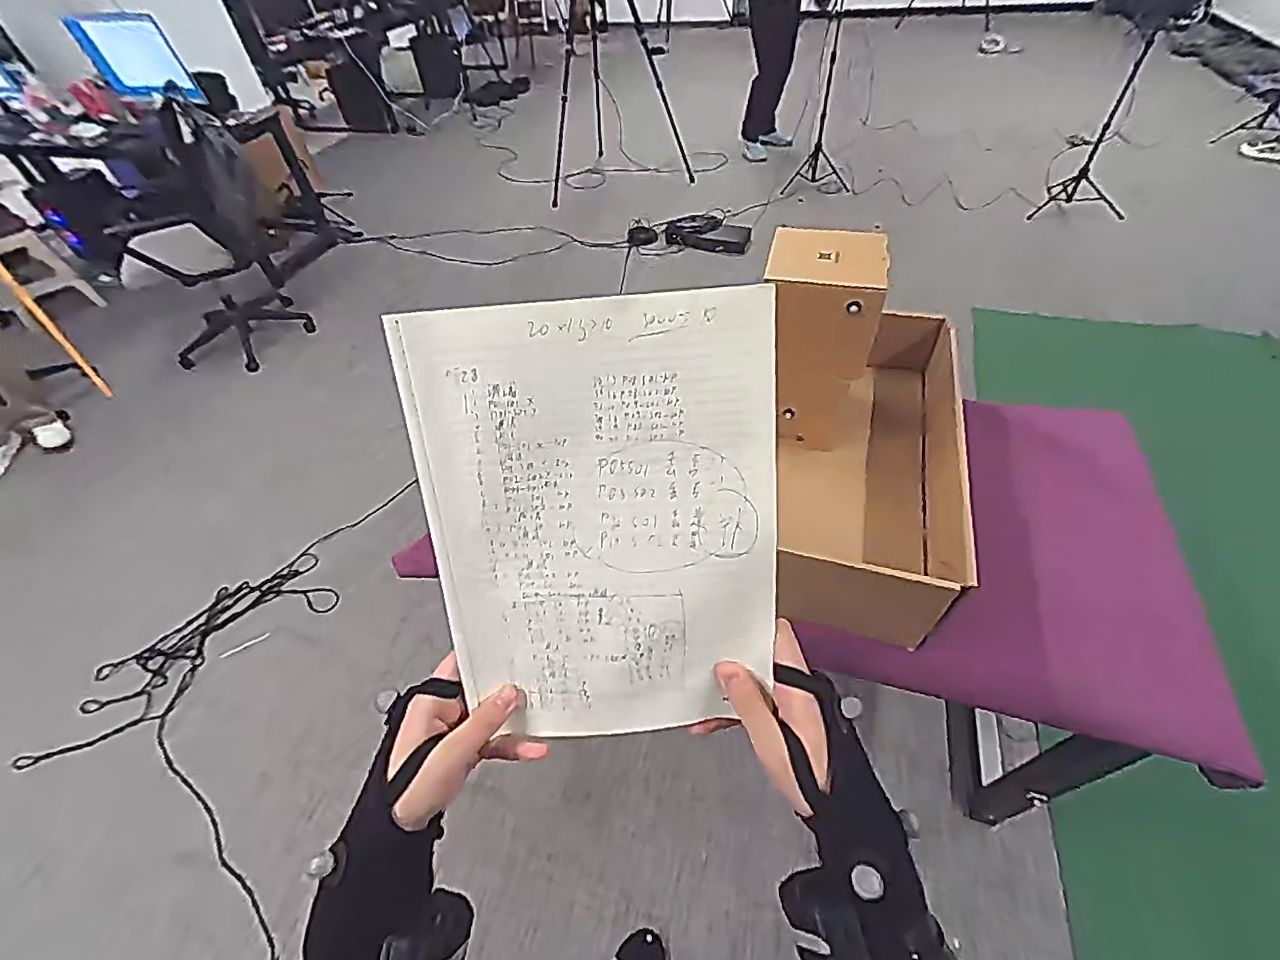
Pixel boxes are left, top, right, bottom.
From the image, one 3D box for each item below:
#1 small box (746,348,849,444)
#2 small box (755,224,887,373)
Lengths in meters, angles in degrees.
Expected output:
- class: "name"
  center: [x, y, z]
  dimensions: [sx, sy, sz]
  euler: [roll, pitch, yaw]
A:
- class: "small box"
  center: [0.296, -0.191, 1.004]
  dimensions: [0.168, 0.176, 0.179]
  euler: [12, 52, 15]
- class: "small box"
  center: [0.288, -0.292, 0.878]
  dimensions: [0.179, 0.176, 0.168]
  euler: [10, 52, 13]
